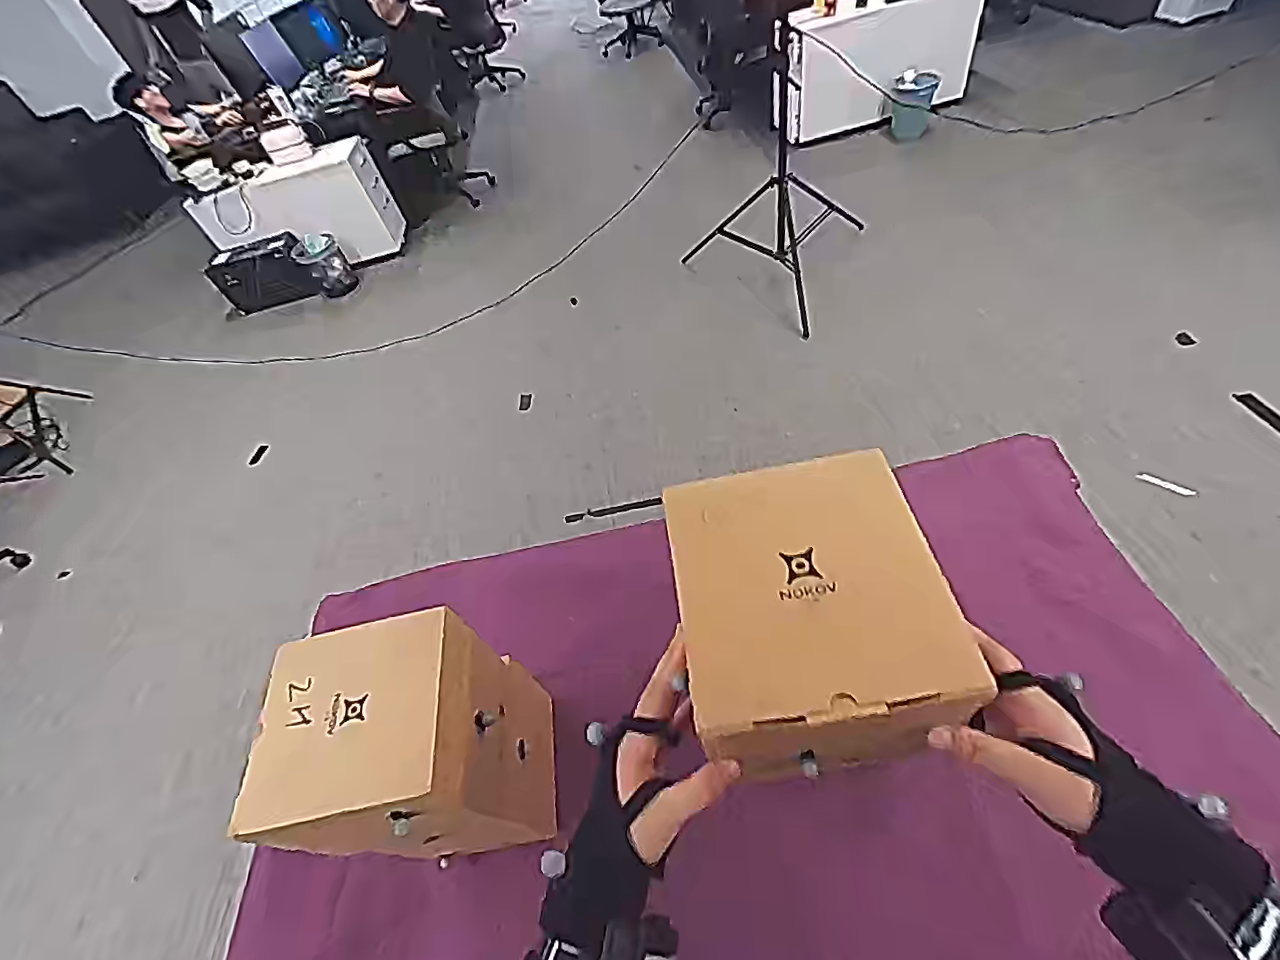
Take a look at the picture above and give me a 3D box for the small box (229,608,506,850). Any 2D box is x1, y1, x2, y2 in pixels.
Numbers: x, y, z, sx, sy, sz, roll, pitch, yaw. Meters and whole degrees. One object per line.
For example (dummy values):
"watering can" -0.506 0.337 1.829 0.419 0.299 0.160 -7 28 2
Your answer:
"small box" -0.243 0.253 0.540 0.179 0.176 0.168 -14 50 3

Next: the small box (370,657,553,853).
"small box" -0.211 0.347 0.672 0.168 0.176 0.179 -13 50 3

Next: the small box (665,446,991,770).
"small box" 0.117 0.103 0.414 0.168 0.176 0.179 -11 53 4
